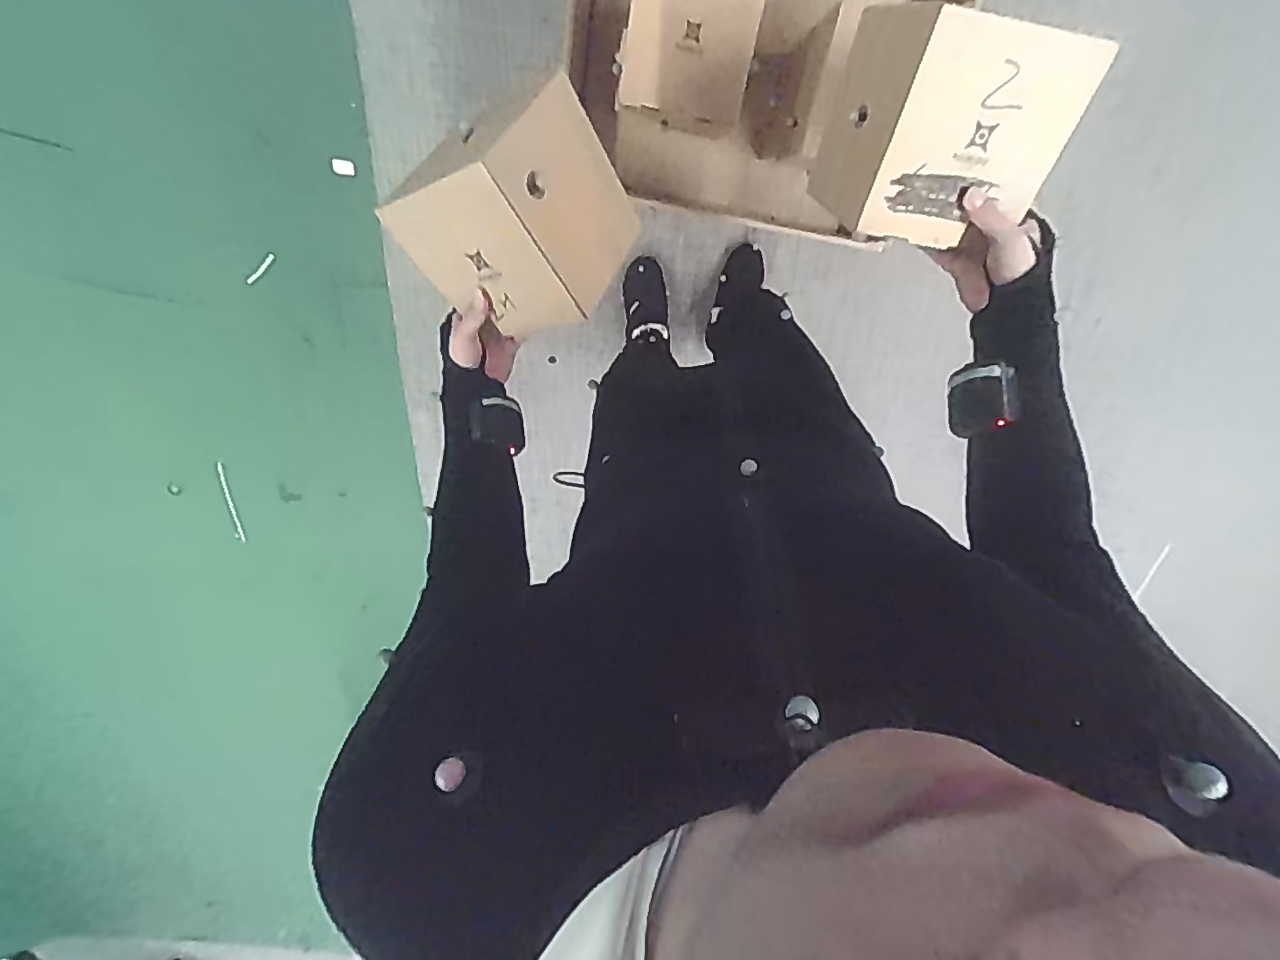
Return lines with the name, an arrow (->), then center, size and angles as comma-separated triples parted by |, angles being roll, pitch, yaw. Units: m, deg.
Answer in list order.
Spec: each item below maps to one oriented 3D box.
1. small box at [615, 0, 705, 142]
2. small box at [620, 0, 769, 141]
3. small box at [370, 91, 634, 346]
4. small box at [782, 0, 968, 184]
small box -> 0.062, -0.677, 0.896 | 0.179, 0.176, 0.168 | 11, 117, -5
small box -> 0.067, -0.596, 0.753 | 0.168, 0.176, 0.179 | 10, 118, -5
small box -> -0.133, -0.273, 0.577 | 0.168, 0.176, 0.179 | 1, 146, 35
small box -> 0.316, -0.538, 0.776 | 0.168, 0.176, 0.179 | 10, 117, -5
